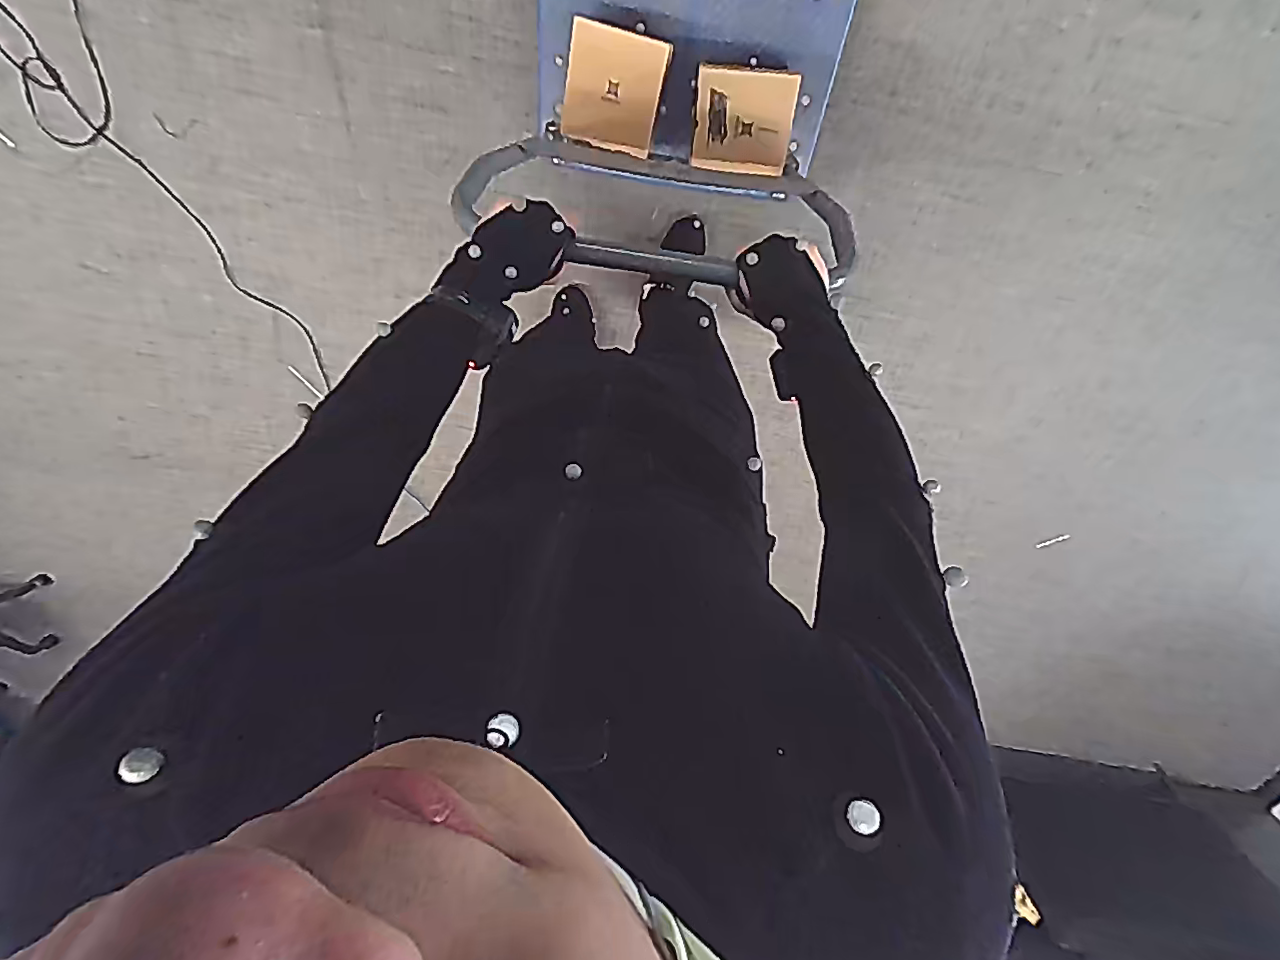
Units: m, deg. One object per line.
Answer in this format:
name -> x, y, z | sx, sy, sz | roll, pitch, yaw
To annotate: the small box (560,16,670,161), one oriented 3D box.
small box -> -0.044, -0.729, 1.007 | 0.168, 0.176, 0.179 | 13, 130, -6
